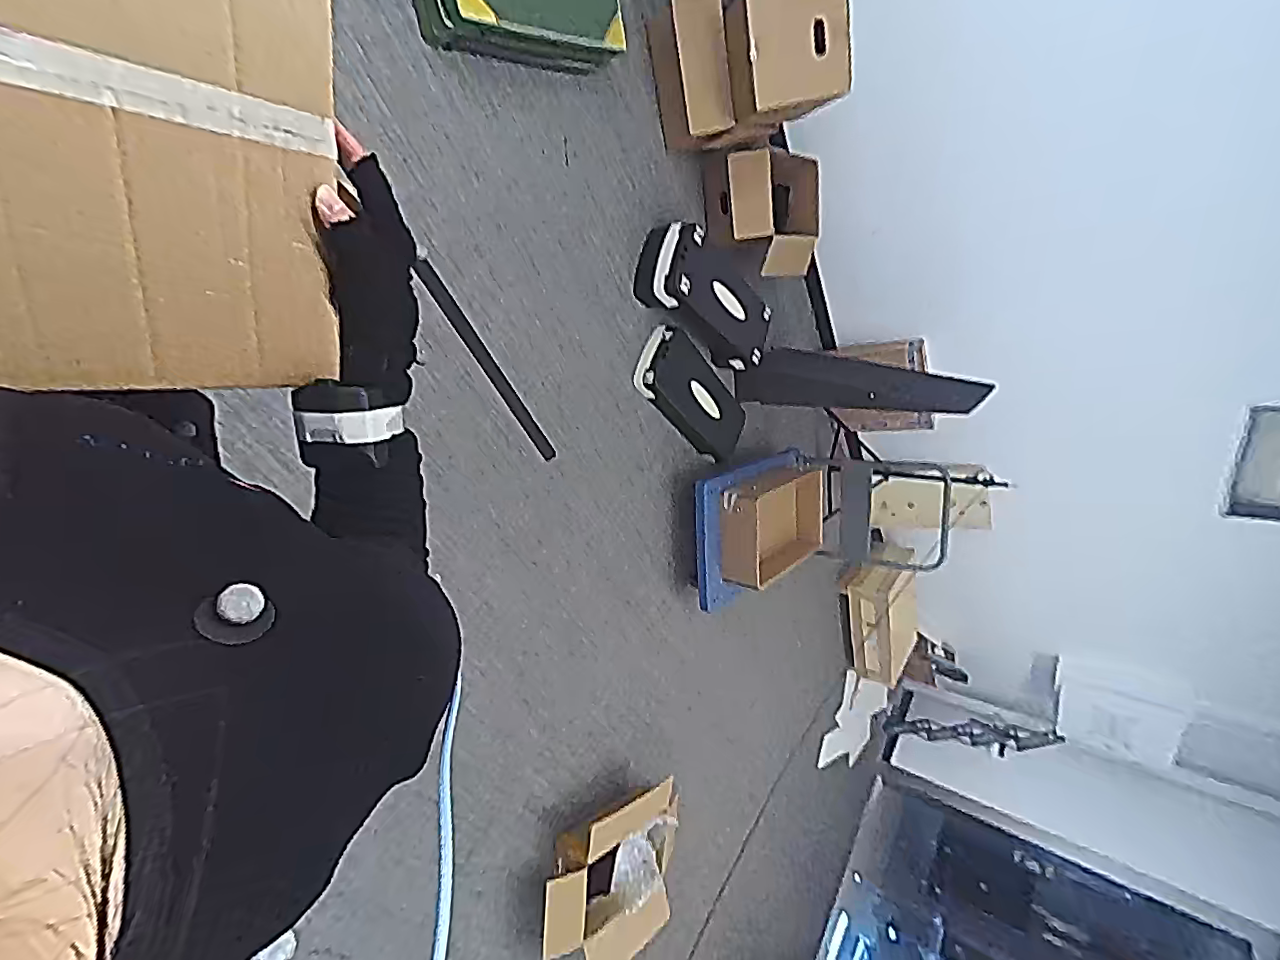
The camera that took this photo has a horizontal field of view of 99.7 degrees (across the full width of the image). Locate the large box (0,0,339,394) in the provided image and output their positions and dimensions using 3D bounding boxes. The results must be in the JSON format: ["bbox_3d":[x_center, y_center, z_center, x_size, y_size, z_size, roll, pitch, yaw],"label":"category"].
[{"bbox_3d":[-0.443,-0.242,0.308,0.408,0.320,0.320,-11,124,-42],"label":"large box"}]
